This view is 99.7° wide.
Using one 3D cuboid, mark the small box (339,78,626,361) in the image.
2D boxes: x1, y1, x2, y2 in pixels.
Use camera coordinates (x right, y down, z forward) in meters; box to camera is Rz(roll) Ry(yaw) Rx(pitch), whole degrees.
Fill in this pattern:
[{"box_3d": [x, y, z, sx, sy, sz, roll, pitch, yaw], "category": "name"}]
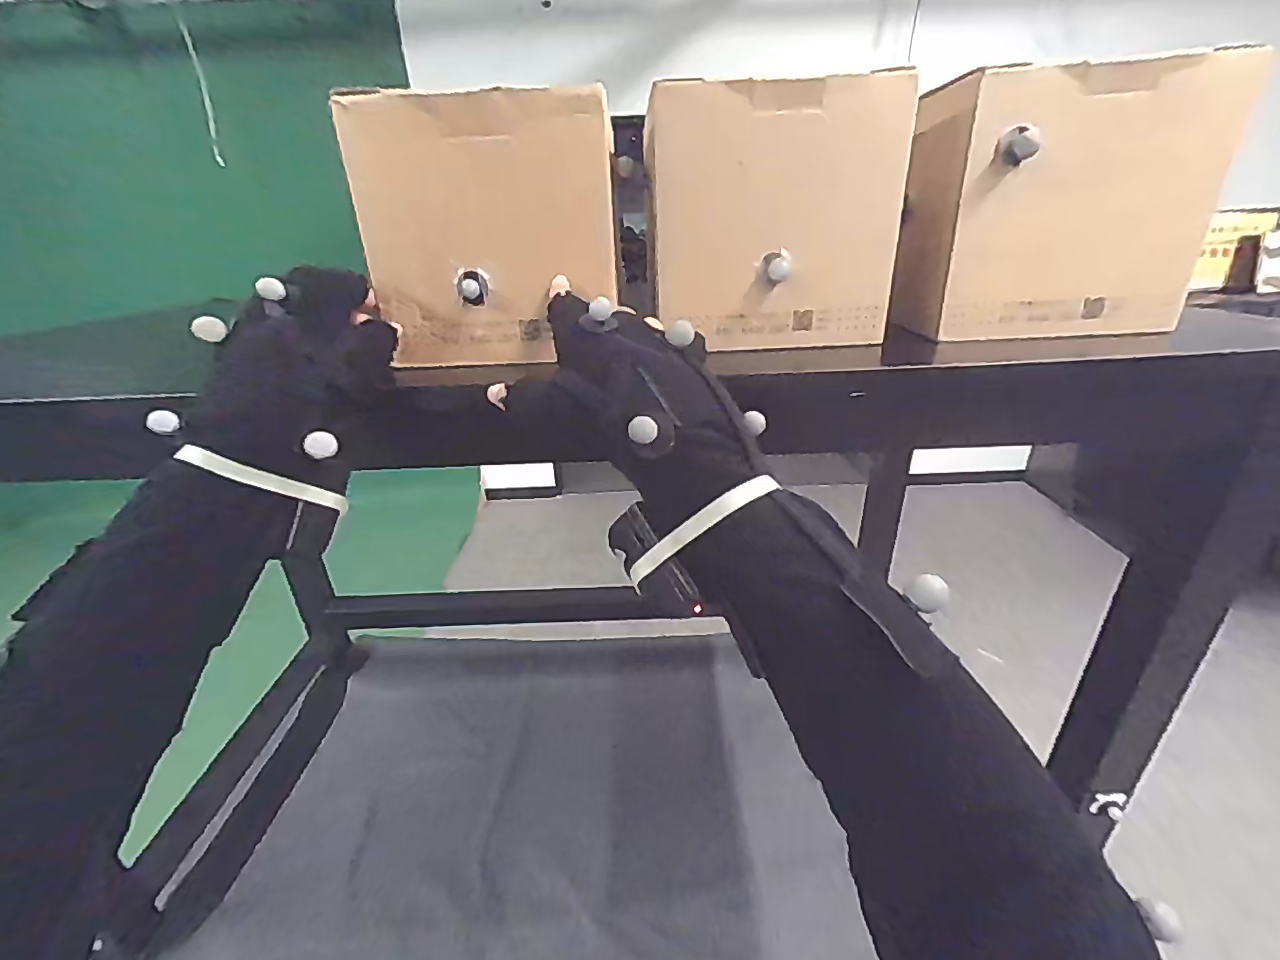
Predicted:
[{"box_3d": [-0.099, -0.195, 0.430, 0.168, 0.176, 0.179, -3, 25, 0], "category": "small box"}]
